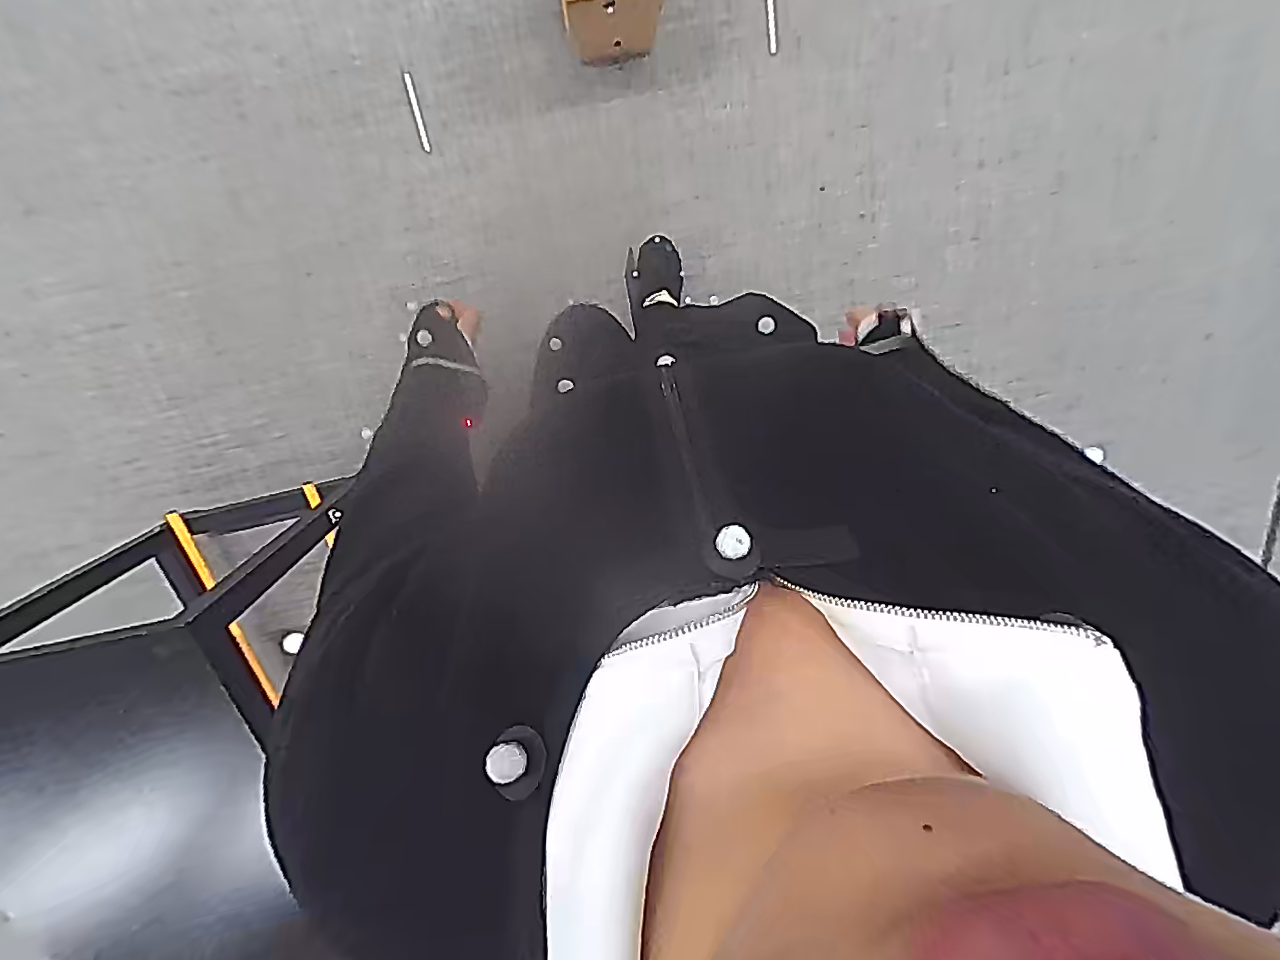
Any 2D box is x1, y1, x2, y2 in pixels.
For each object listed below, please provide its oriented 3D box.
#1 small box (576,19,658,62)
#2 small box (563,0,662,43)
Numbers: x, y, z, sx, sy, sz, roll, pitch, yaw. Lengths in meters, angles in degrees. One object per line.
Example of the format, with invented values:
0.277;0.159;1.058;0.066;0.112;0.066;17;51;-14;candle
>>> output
-0.059;-0.967;1.076;0.168;0.176;0.179;-10;112;0;small box
-0.057;-0.891;0.927;0.179;0.176;0.168;-12;111;1;small box
